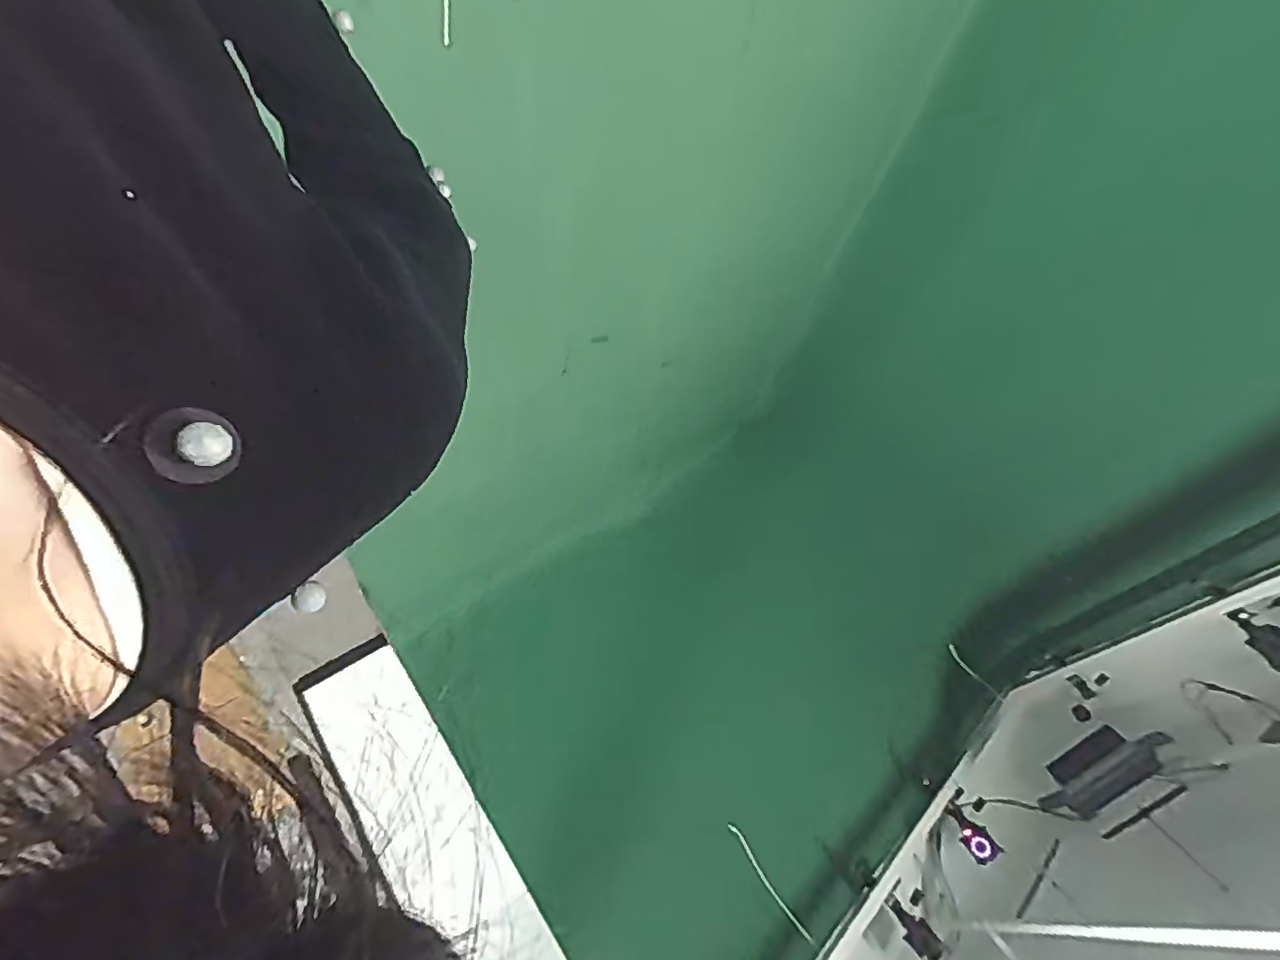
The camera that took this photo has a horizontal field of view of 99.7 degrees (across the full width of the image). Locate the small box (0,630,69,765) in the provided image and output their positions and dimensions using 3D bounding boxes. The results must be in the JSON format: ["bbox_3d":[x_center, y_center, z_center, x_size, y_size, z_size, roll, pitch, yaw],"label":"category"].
[{"bbox_3d":[-1.128,0.378,0.903,0.168,0.176,0.179,-28,154,-33],"label":"small box"}]

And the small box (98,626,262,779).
[{"bbox_3d":[-0.843,0.404,0.994,0.179,0.176,0.168,-28,155,-33],"label":"small box"}]

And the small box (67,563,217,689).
[{"bbox_3d":[-0.953,0.295,1.050,0.179,0.176,0.168,-28,155,-33],"label":"small box"}]
